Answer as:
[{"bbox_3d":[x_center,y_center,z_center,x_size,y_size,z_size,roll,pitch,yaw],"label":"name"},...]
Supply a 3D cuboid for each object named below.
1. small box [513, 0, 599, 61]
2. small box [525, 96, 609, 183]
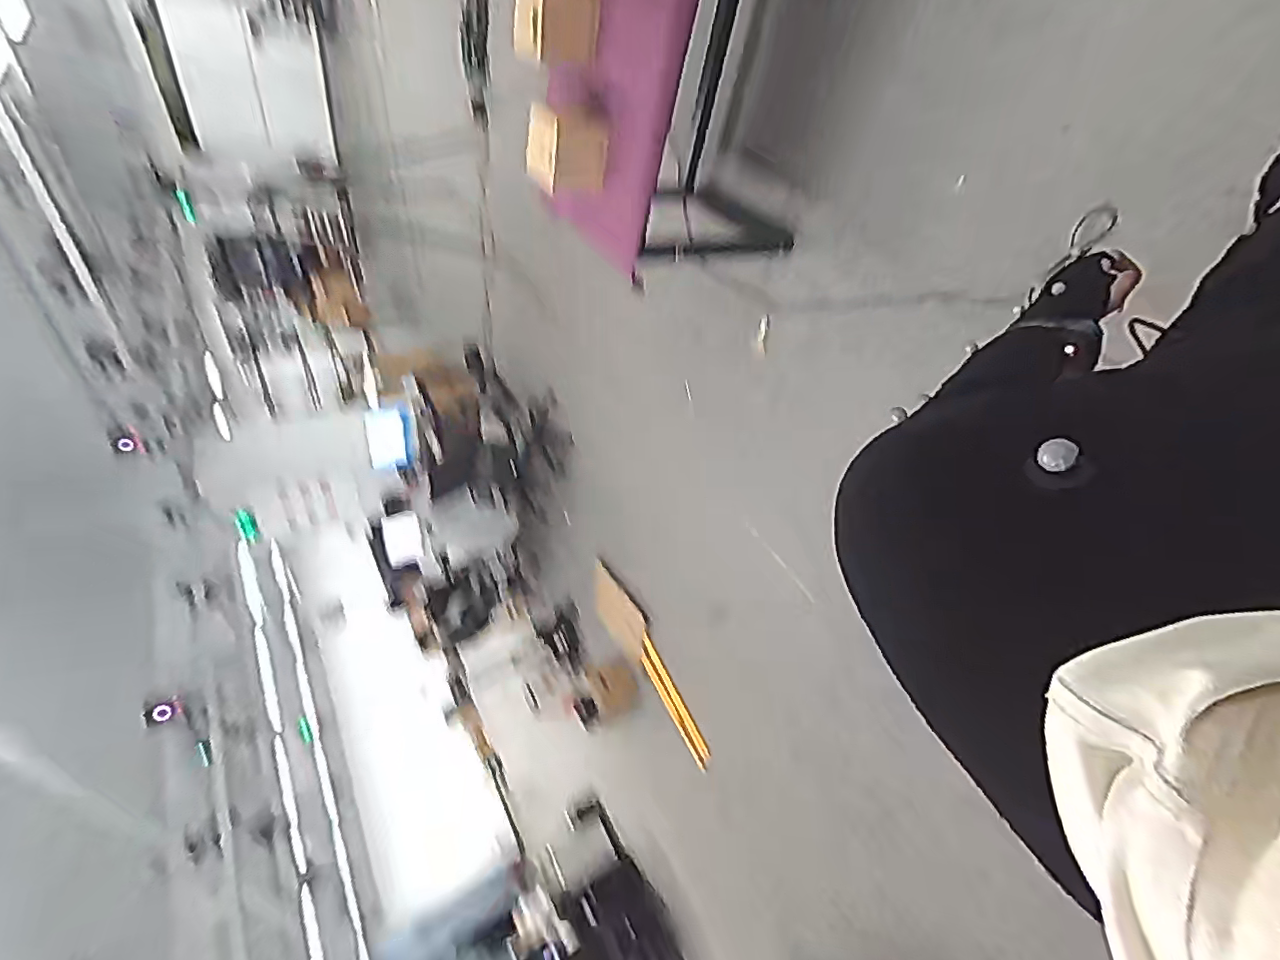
[{"bbox_3d":[-0.224,-1.245,1.444,0.179,0.176,0.168,52,143,33],"label":"small box"},{"bbox_3d":[-0.213,-0.970,1.553,0.179,0.176,0.168,53,143,31],"label":"small box"}]
